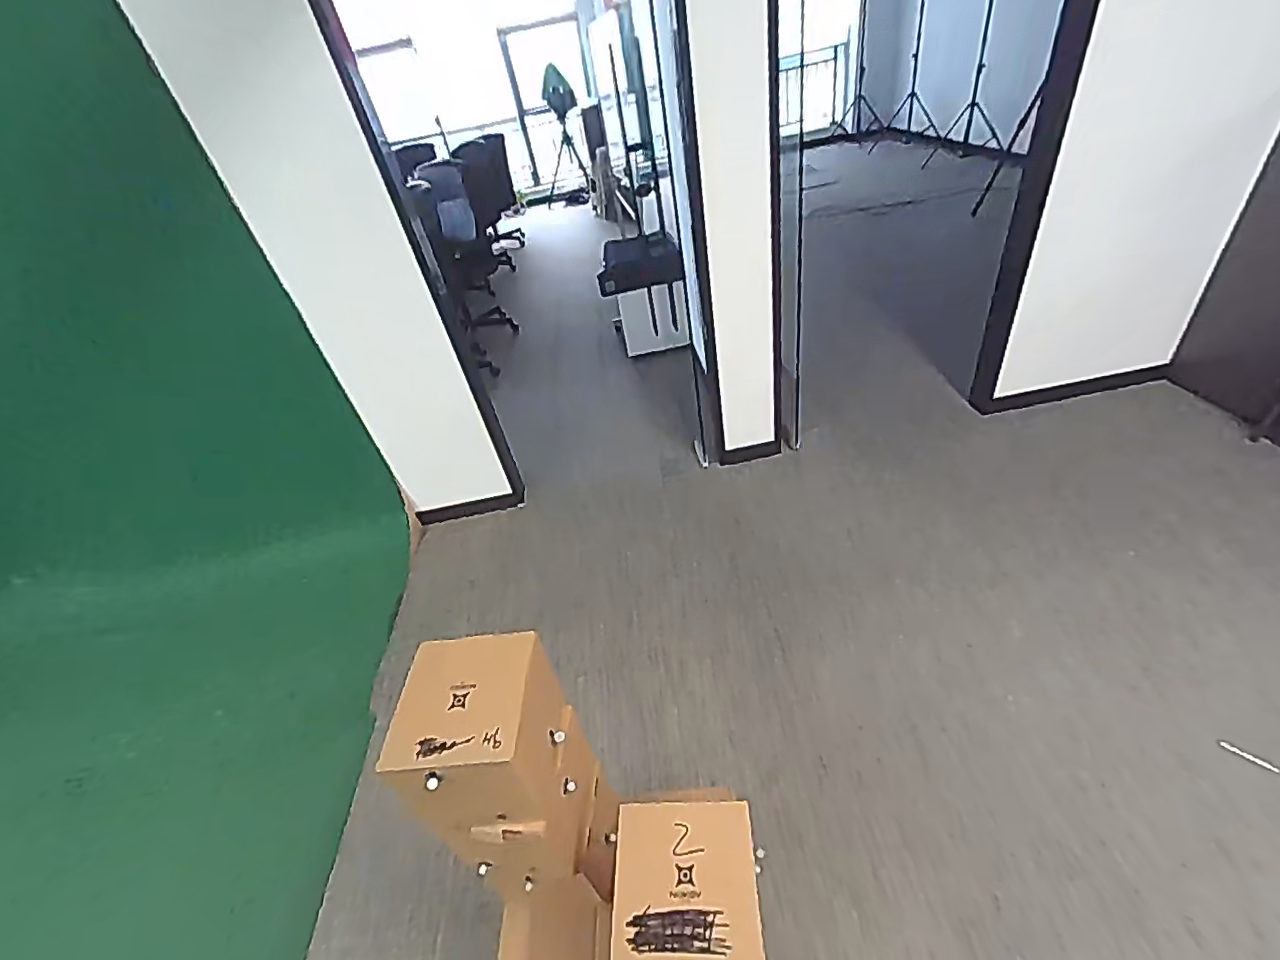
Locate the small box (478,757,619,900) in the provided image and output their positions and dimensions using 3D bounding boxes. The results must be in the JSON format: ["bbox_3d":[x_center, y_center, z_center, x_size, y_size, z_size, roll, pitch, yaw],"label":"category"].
[{"bbox_3d":[-0.143,0.590,0.919,0.179,0.176,0.168,-4,39,9],"label":"small box"}]

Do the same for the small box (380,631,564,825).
[{"bbox_3d":[-0.207,0.330,0.725,0.168,0.176,0.179,-8,37,6],"label":"small box"}]

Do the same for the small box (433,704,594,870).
[{"bbox_3d":[-0.175,0.462,0.820,0.168,0.176,0.179,-3,37,11],"label":"small box"}]

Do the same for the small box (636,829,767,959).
[{"bbox_3d":[0.091,0.643,0.786,0.168,0.176,0.179,-9,38,3],"label":"small box"}]
